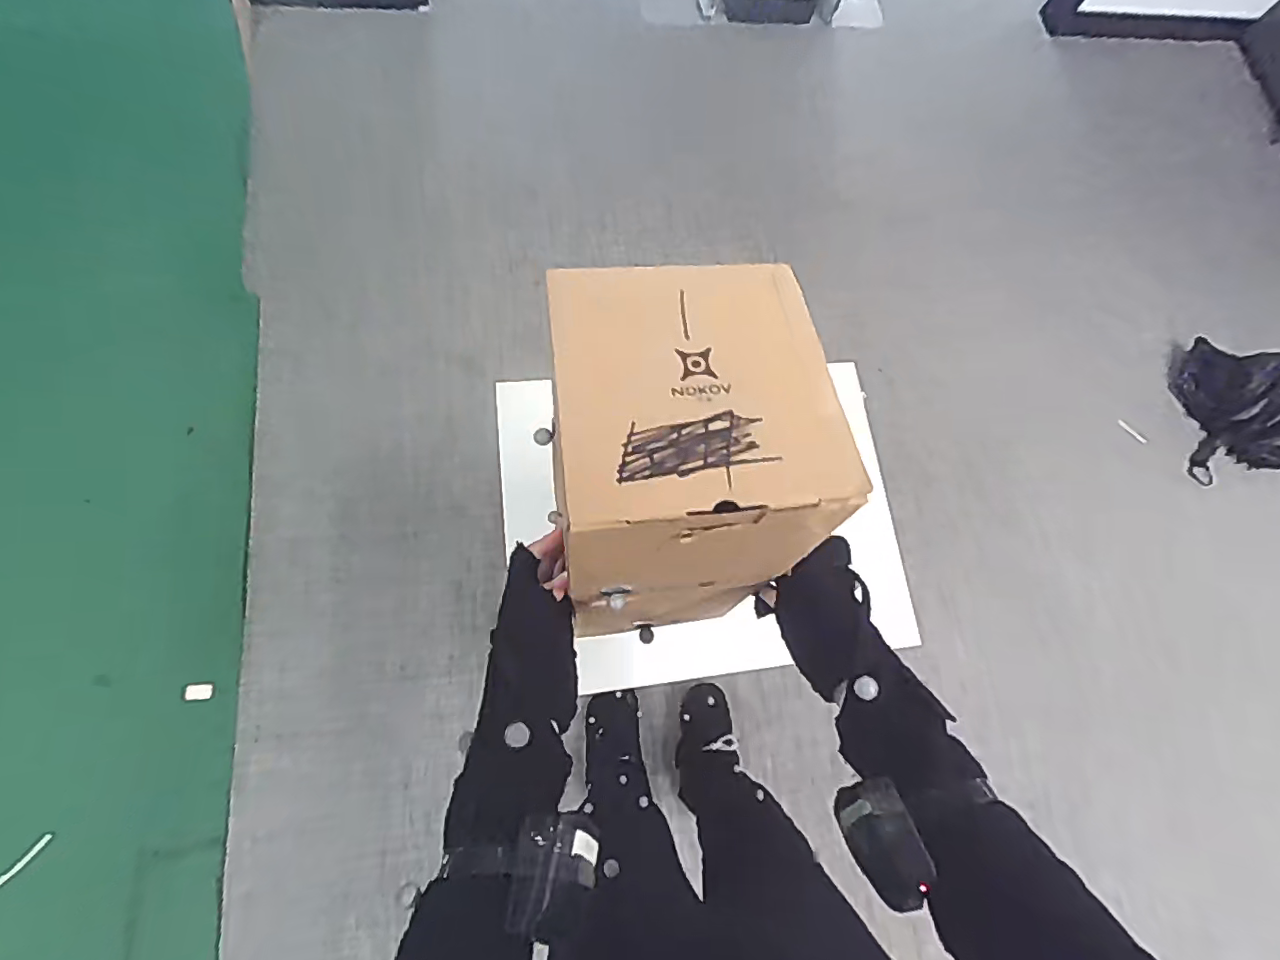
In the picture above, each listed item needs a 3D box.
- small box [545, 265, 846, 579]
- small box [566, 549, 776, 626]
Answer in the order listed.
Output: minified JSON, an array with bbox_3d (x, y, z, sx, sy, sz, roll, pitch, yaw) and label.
[{"bbox_3d":[0.019,-0.031,0.400,0.168,0.176,0.179,-3,64,-9],"label":"small box"},{"bbox_3d":[0.007,0.032,0.533,0.168,0.176,0.179,-7,67,-11],"label":"small box"}]
